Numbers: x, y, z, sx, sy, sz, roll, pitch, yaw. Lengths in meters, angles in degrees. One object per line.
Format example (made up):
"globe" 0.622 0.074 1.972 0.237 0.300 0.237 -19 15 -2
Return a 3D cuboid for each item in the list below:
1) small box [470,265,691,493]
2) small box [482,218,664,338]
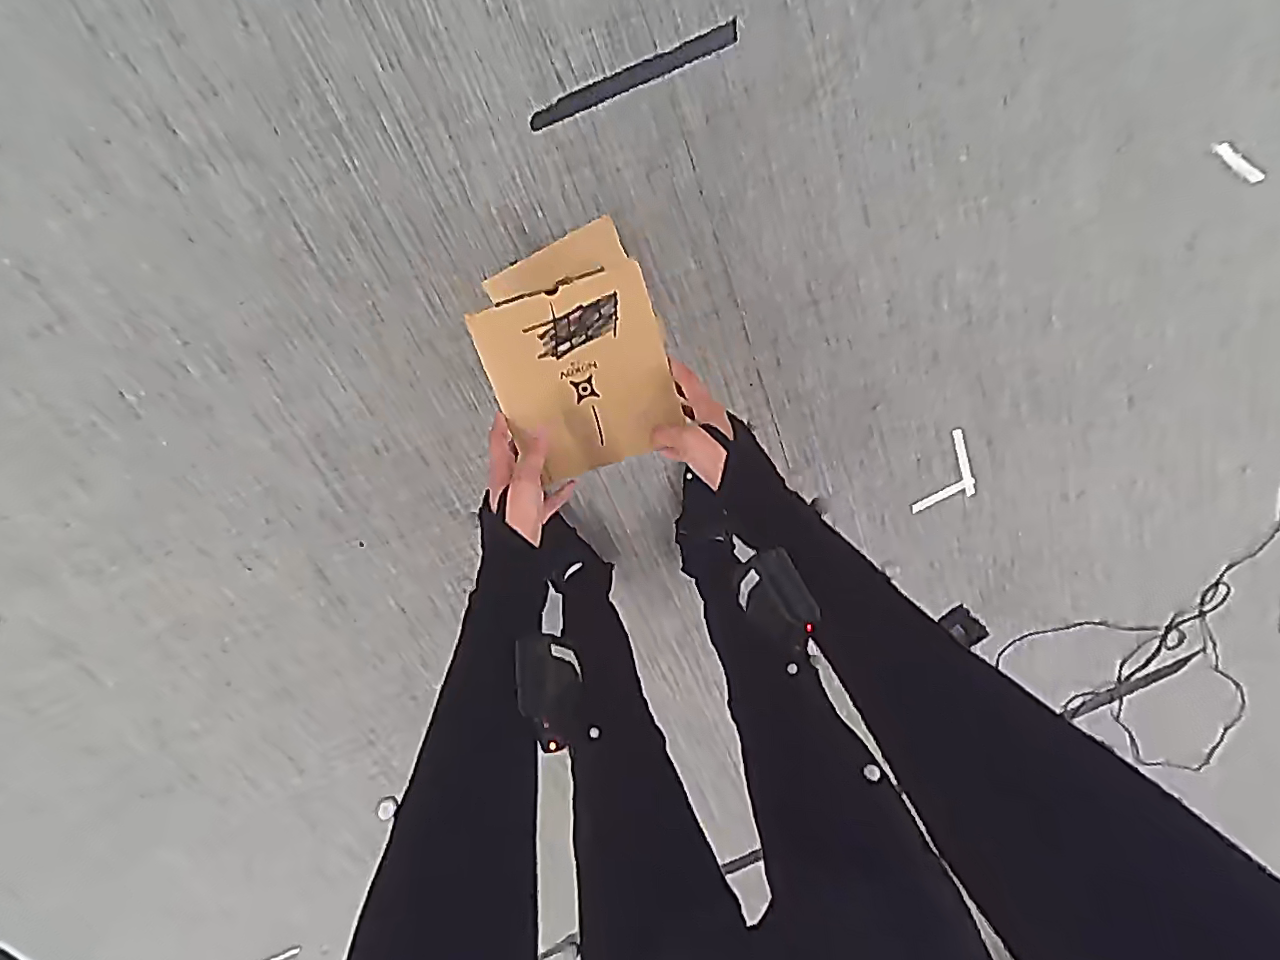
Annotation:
"small box" -0.058 -0.111 0.578 0.168 0.176 0.179 -18 109 1
"small box" -0.090 -0.231 0.746 0.179 0.176 0.168 -28 111 1
